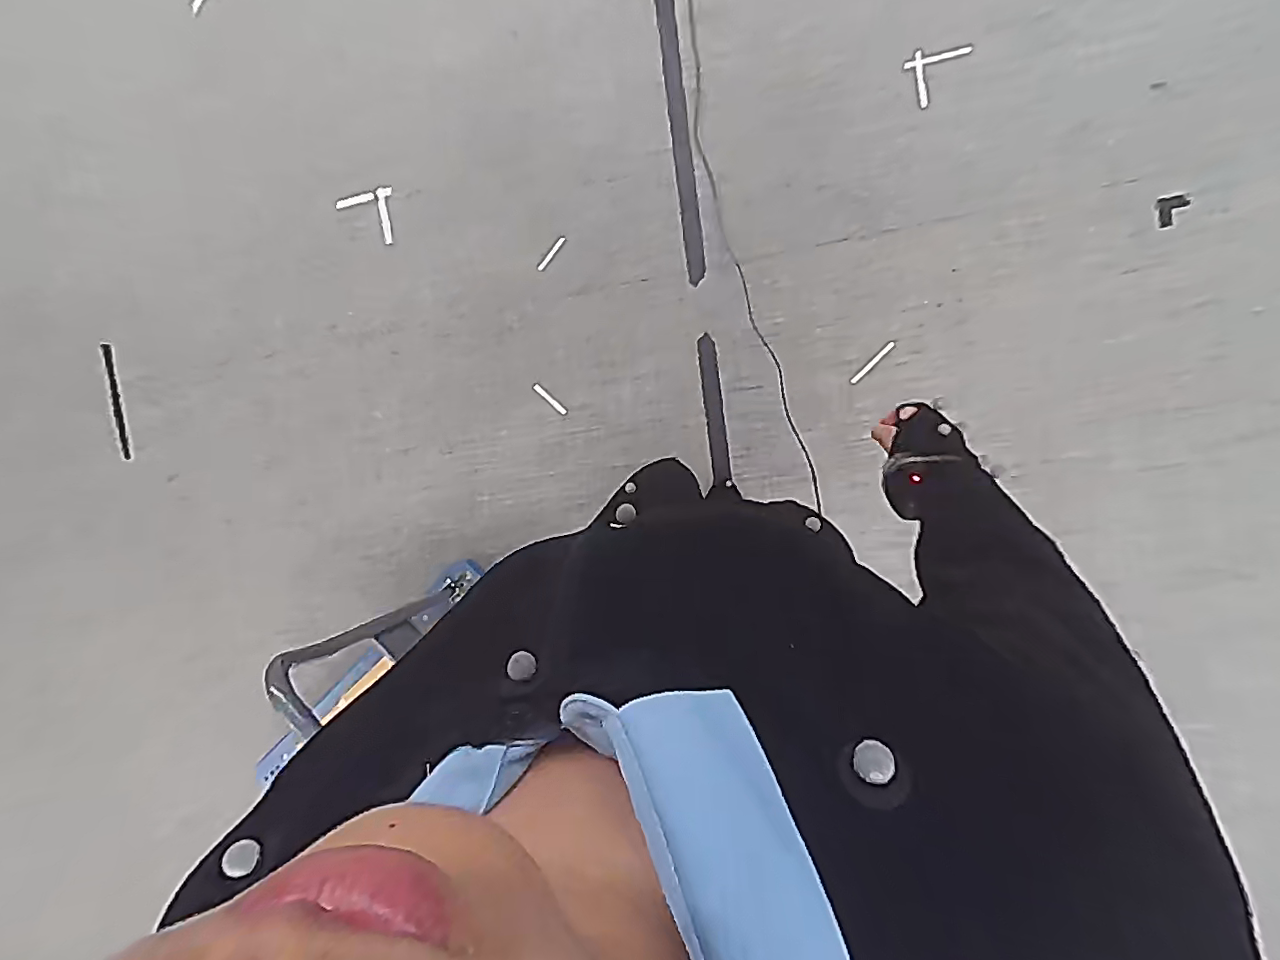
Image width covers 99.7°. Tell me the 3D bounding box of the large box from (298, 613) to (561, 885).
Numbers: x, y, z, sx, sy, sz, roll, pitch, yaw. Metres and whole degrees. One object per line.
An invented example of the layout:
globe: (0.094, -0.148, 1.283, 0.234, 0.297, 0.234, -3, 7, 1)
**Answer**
large box: (-0.457, 0.588, 1.252, 0.320, 0.320, 0.408, -44, 86, 7)
